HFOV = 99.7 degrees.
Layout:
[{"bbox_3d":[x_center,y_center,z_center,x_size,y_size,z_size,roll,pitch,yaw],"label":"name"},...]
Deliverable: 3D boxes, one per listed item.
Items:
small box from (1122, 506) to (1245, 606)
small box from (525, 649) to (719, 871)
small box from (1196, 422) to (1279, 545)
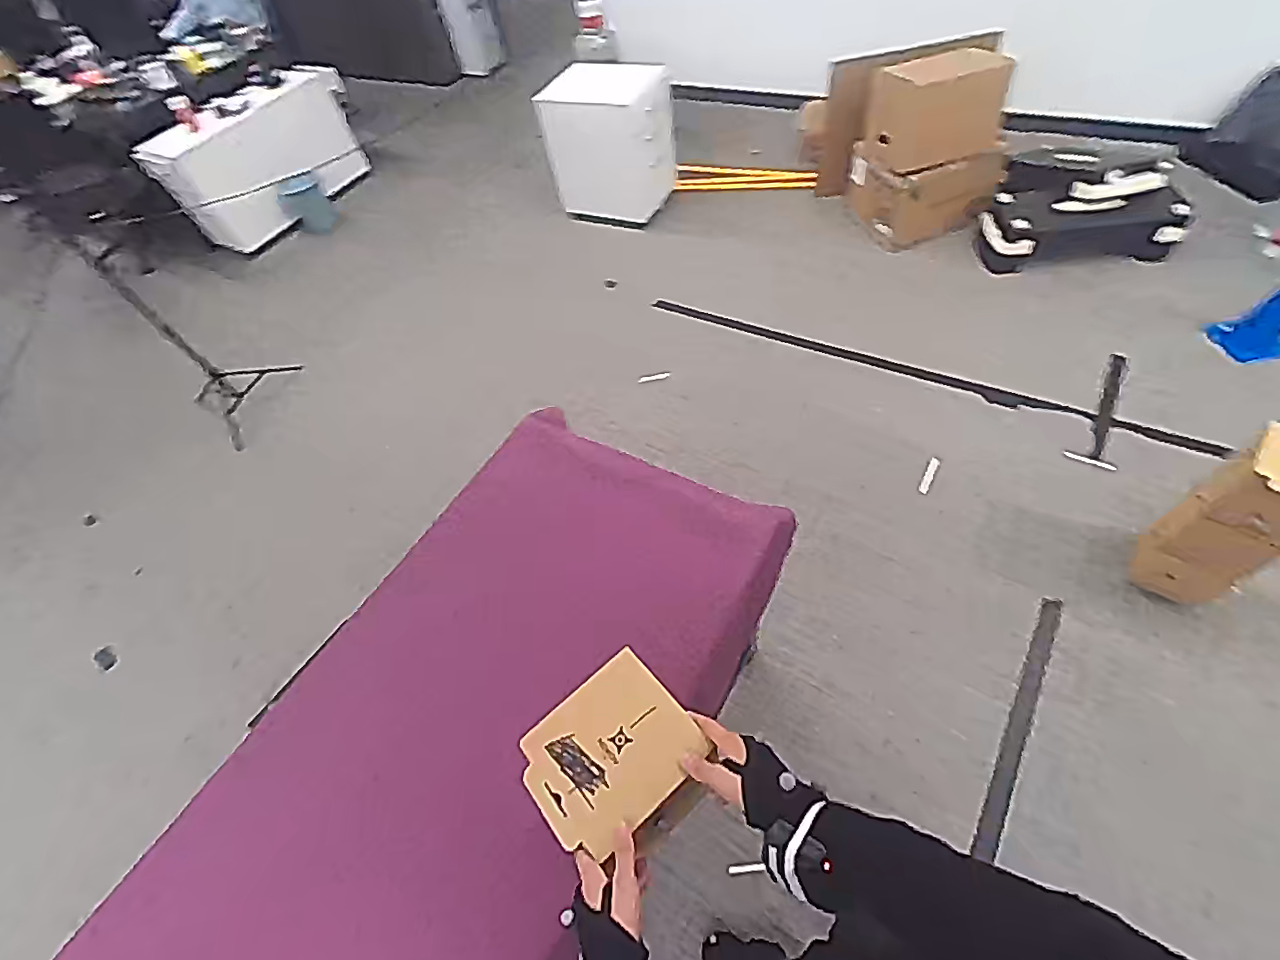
[{"bbox_3d":[1.457,0.210,1.461,0.168,0.176,0.179,27,64,25],"label":"small box"},{"bbox_3d":[-0.012,0.361,0.692,0.179,0.176,0.168,-37,53,-18],"label":"small box"},{"bbox_3d":[1.408,0.010,1.202,0.168,0.176,0.179,33,67,27],"label":"small box"}]
